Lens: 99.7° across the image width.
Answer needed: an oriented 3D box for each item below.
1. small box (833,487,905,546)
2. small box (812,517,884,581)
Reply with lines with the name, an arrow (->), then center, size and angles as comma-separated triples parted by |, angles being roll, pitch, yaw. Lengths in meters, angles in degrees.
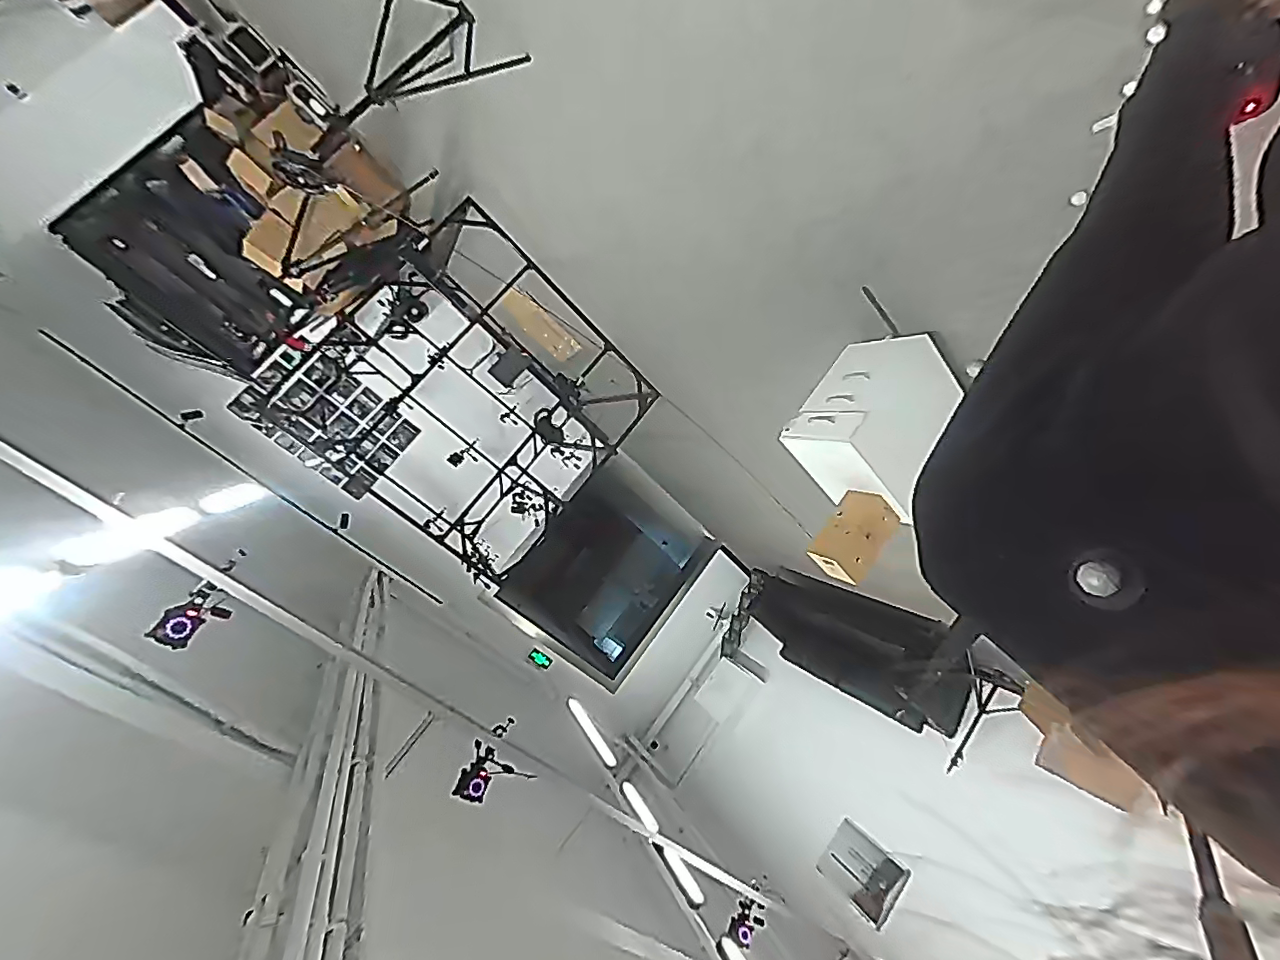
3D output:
small box -> 0.942, 0.144, 2.220 | 0.168, 0.176, 0.179 | 42, 169, -22
small box -> 0.844, 0.273, 2.187 | 0.179, 0.176, 0.168 | 42, 170, -23
